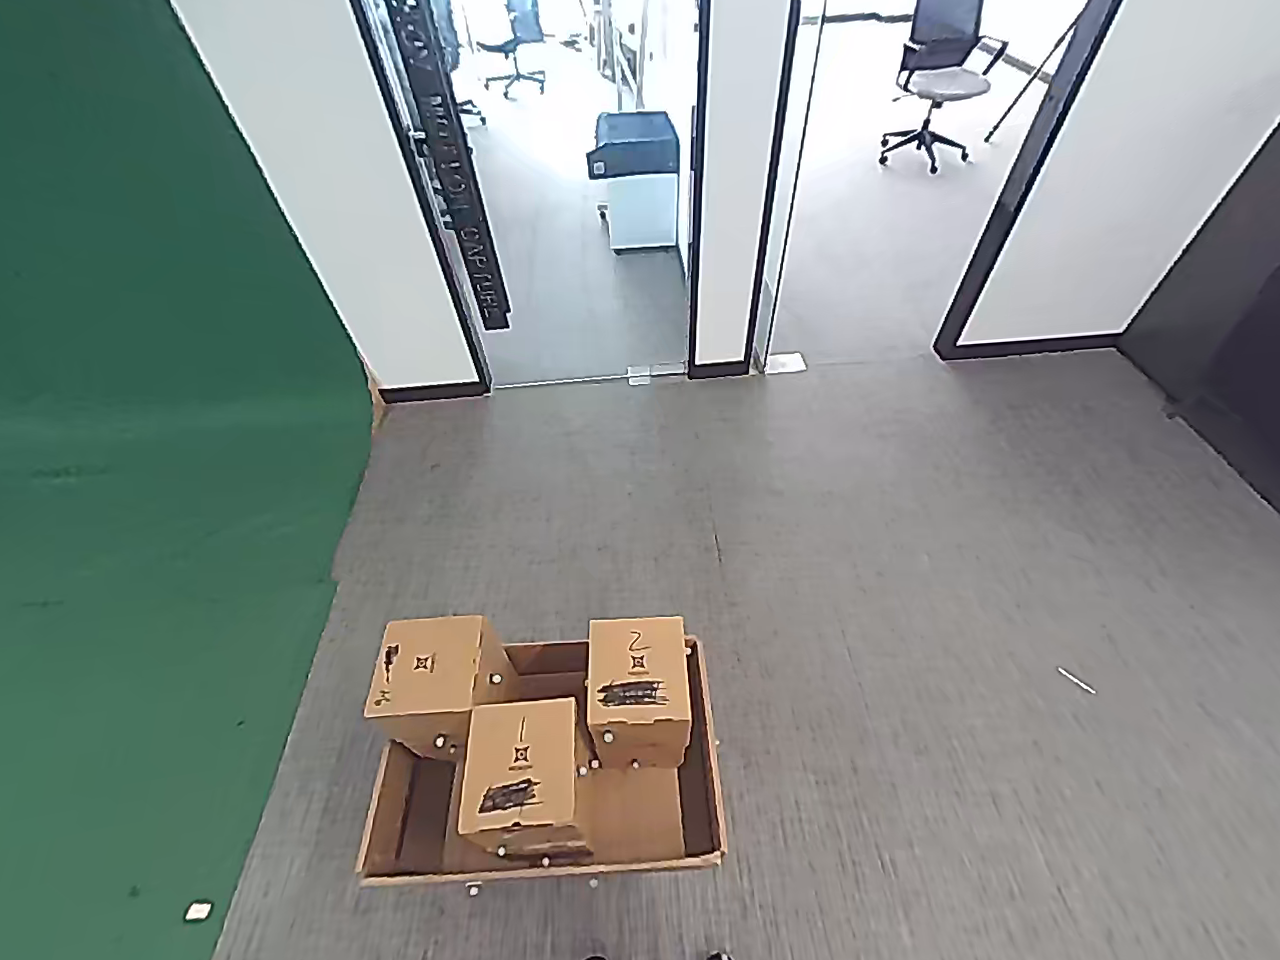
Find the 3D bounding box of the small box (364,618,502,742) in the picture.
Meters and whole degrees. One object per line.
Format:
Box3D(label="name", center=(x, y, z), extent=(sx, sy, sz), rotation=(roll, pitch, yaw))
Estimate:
Box3D(label="small box", center=(-0.355, 0.361, 0.971), extent=(0.179, 0.176, 0.168), rotation=(-2, 50, -1))
